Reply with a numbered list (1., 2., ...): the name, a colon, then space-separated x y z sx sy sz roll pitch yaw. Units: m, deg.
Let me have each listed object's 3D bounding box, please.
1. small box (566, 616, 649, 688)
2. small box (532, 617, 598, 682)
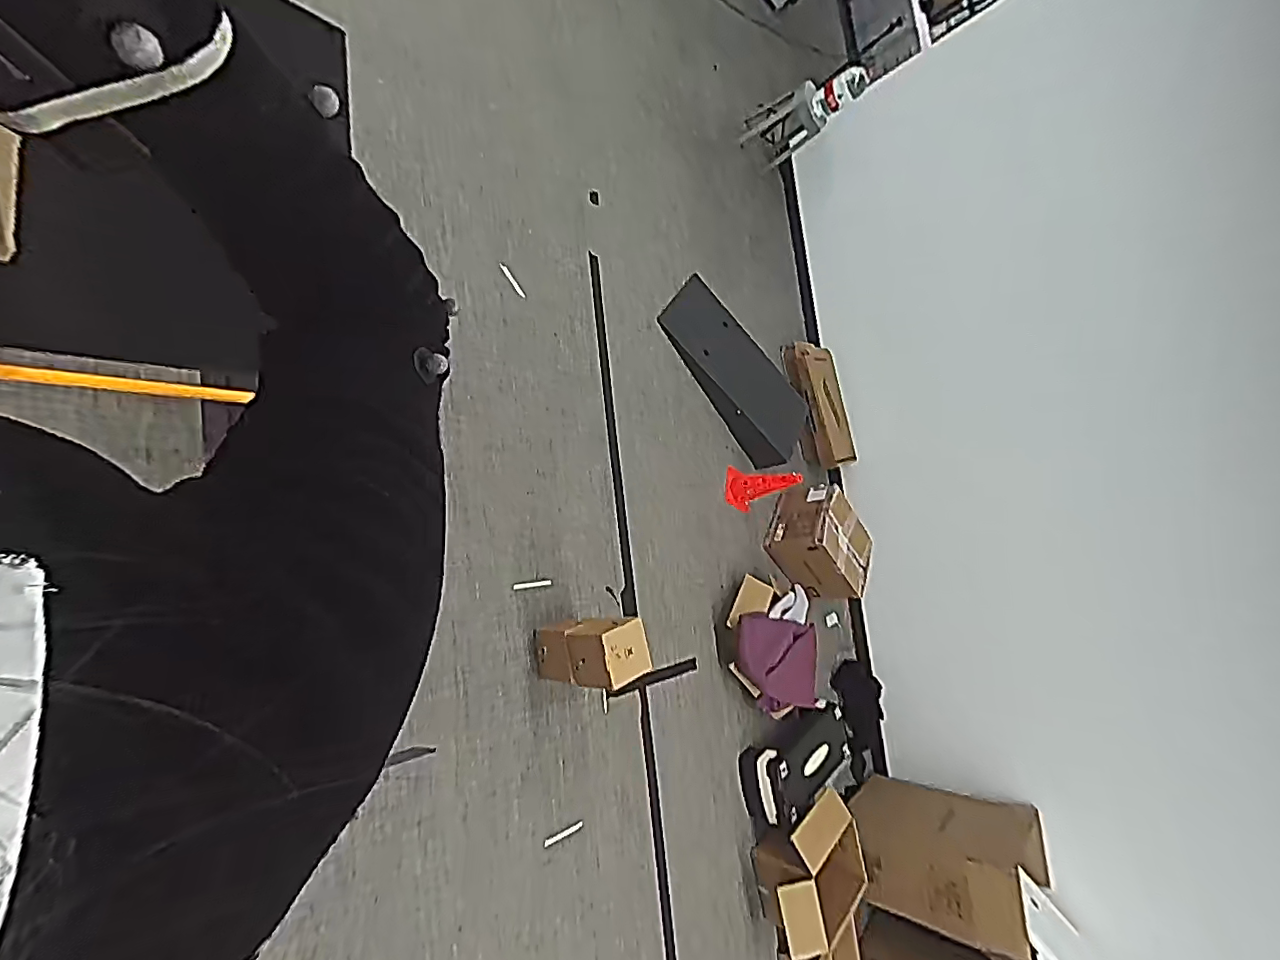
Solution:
1. small box: -0.103 0.525 1.673 0.179 0.176 0.168 -10 87 -47
2. small box: -0.229 0.550 1.777 0.179 0.176 0.168 -4 82 -45
